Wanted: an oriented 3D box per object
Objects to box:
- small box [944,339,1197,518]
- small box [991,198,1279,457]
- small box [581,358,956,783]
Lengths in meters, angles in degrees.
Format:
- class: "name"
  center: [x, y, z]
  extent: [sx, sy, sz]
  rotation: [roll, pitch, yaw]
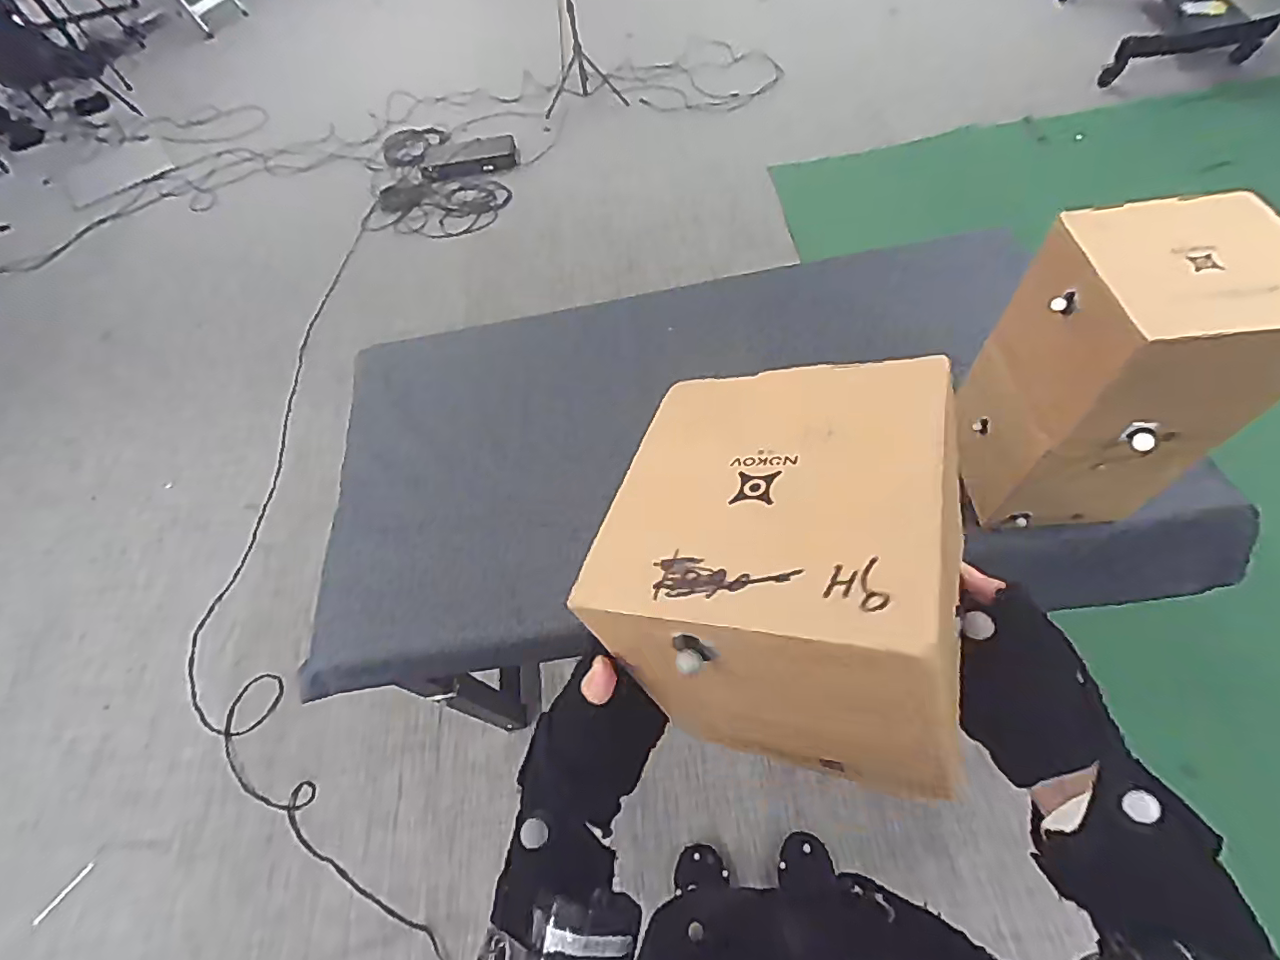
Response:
- class: "small box"
  center: [0.509, -0.061, 0.674]
  extent: [0.168, 0.176, 0.179]
  rotation: [-4, 57, 6]
- class: "small box"
  center: [0.487, -0.143, 0.536]
  extent: [0.168, 0.176, 0.179]
  rotation: [-4, 59, 7]
- class: "small box"
  center: [0.097, 0.052, 0.337]
  extent: [0.168, 0.176, 0.179]
  rotation: [-3, 45, 32]
